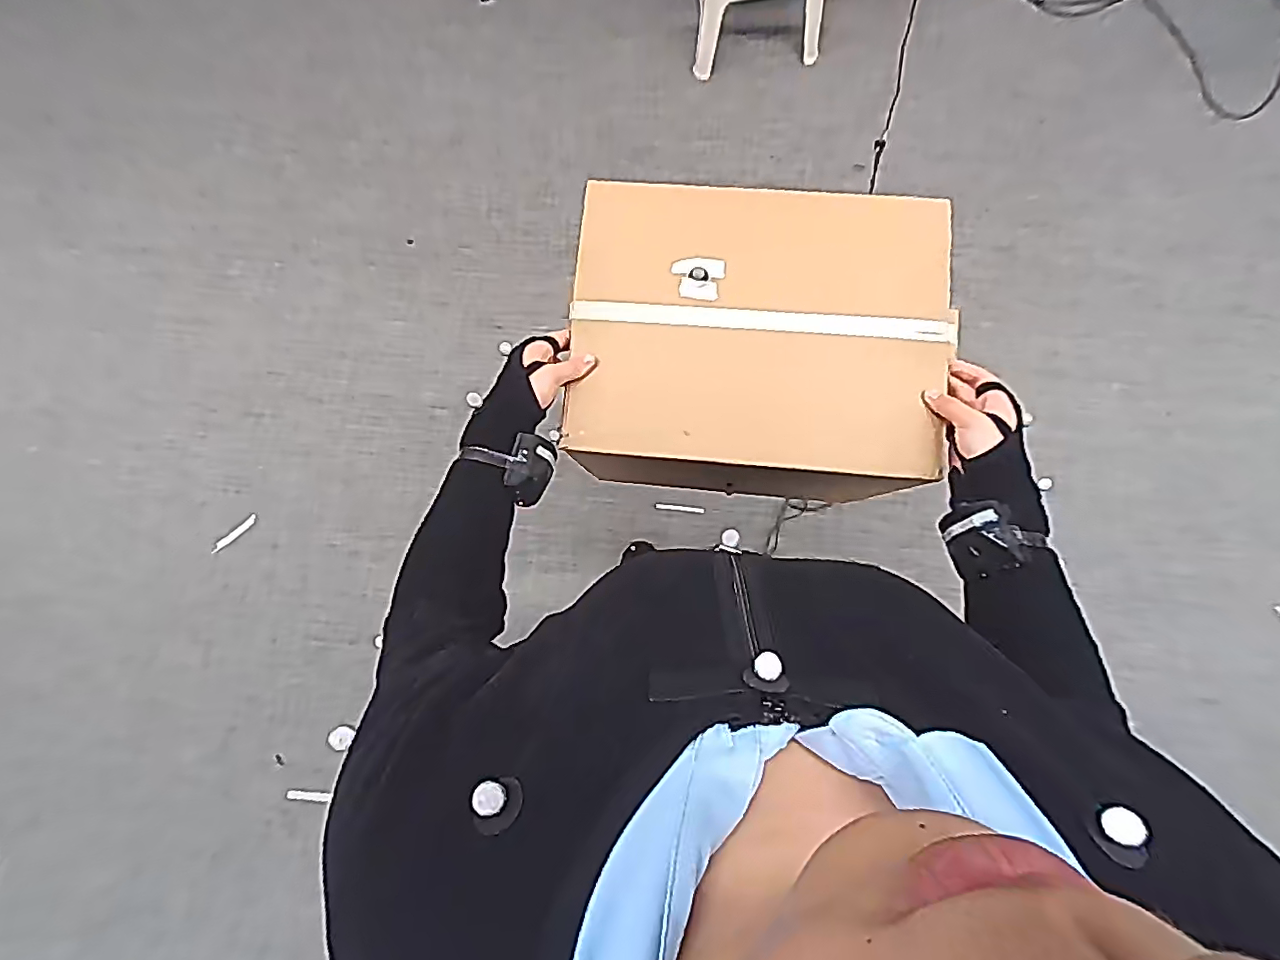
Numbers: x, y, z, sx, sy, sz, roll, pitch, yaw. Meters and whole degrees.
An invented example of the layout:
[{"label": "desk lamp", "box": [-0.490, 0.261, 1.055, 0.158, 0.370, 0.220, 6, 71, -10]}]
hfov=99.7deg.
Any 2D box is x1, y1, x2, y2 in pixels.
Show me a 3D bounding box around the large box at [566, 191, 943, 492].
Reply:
[{"label": "large box", "box": [0.139, -0.157, 0.744, 0.408, 0.320, 0.320, 5, 83, 5]}]
